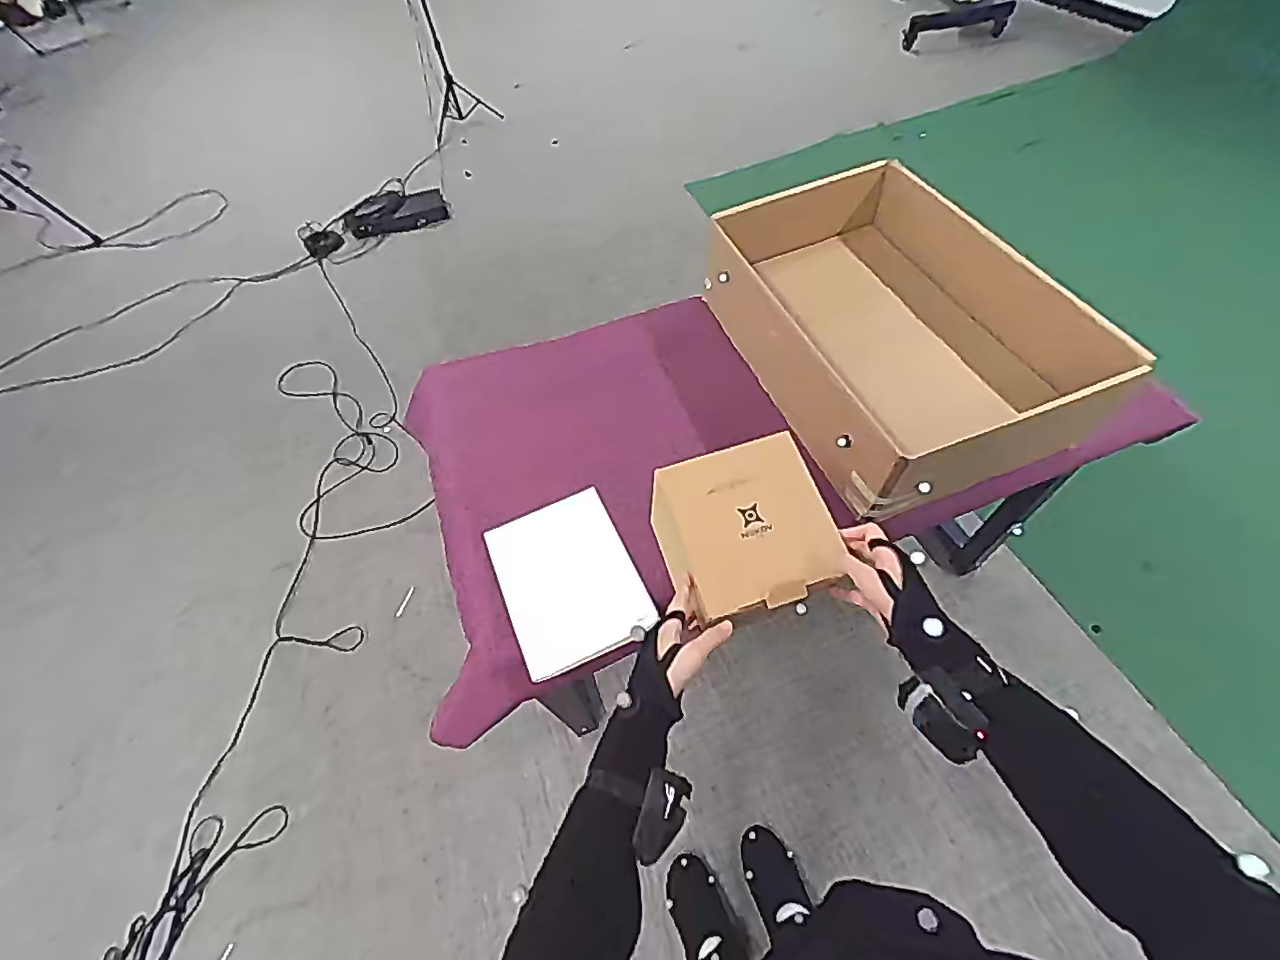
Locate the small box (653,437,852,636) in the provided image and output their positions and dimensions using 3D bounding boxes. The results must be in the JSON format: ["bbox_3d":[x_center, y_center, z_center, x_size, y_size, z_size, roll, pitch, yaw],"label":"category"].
[{"bbox_3d":[0.119,0.079,0.653,0.168,0.176,0.179,-16,66,-8],"label":"small box"}]
